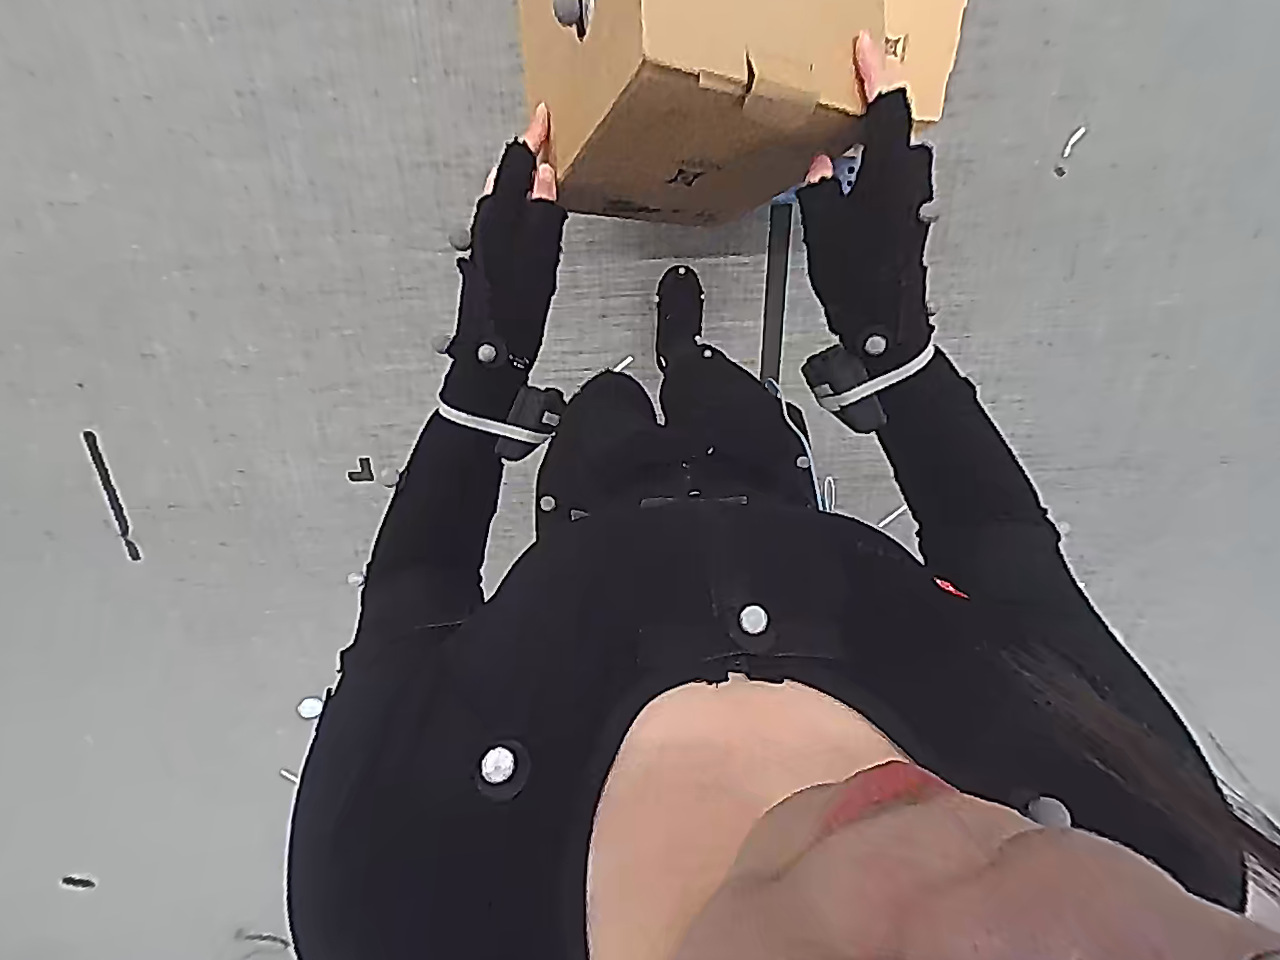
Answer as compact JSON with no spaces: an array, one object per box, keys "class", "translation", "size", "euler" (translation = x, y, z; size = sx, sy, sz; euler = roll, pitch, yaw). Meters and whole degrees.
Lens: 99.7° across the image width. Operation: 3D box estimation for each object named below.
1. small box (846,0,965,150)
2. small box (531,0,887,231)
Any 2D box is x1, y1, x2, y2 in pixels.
[{"class":"small box","translation":[0.344,-0.615,0.820],"size":[0.179,0.176,0.168],"euler":[3,111,-3]},{"class":"small box","translation":[0.030,-0.289,0.356],"size":[0.168,0.179,0.176],"euler":[-6,94,-27]}]
